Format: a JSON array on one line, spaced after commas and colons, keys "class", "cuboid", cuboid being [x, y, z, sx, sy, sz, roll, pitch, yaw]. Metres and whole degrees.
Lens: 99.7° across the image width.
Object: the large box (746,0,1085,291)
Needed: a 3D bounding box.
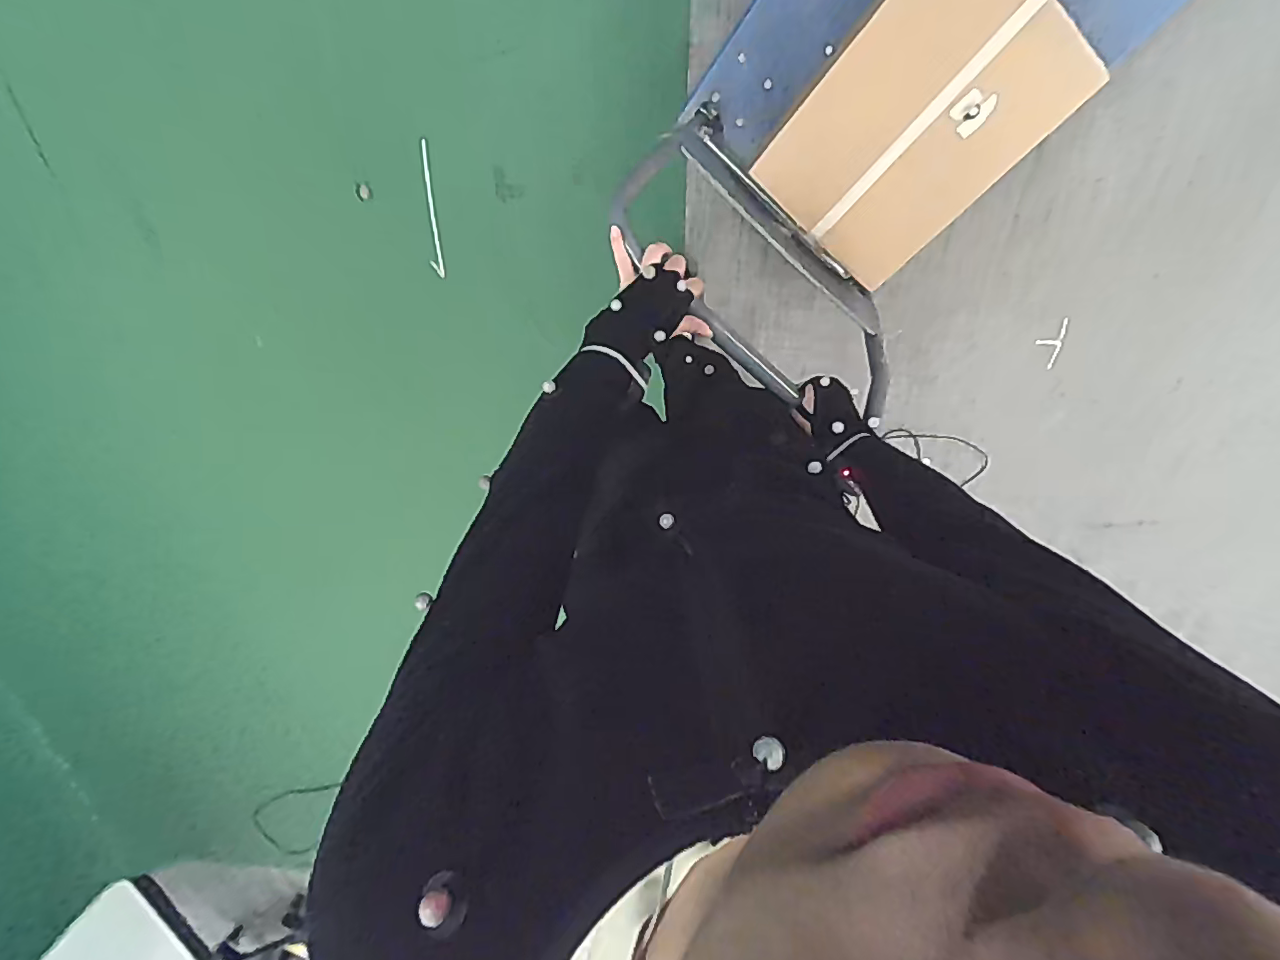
[{"class": "large box", "cuboid": [0.445, -0.633, 0.978, 0.320, 0.320, 0.408, 37, 126, -14]}]
